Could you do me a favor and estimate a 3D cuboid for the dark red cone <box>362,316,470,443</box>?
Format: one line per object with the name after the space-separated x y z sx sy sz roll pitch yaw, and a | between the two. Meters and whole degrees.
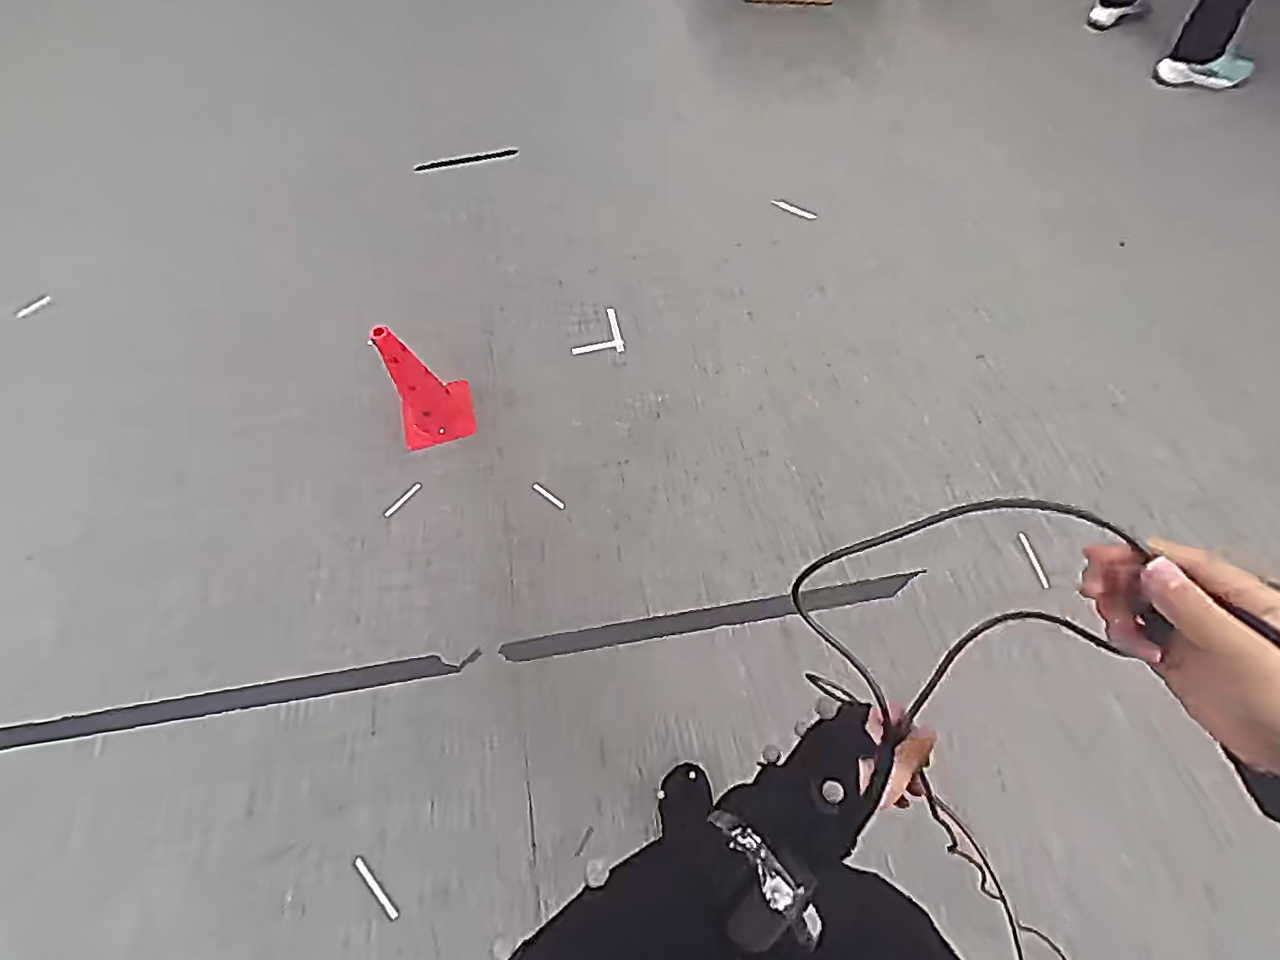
-0.599 -0.273 1.386 0.202 0.394 0.201 -17 66 -5 | dark red cone
